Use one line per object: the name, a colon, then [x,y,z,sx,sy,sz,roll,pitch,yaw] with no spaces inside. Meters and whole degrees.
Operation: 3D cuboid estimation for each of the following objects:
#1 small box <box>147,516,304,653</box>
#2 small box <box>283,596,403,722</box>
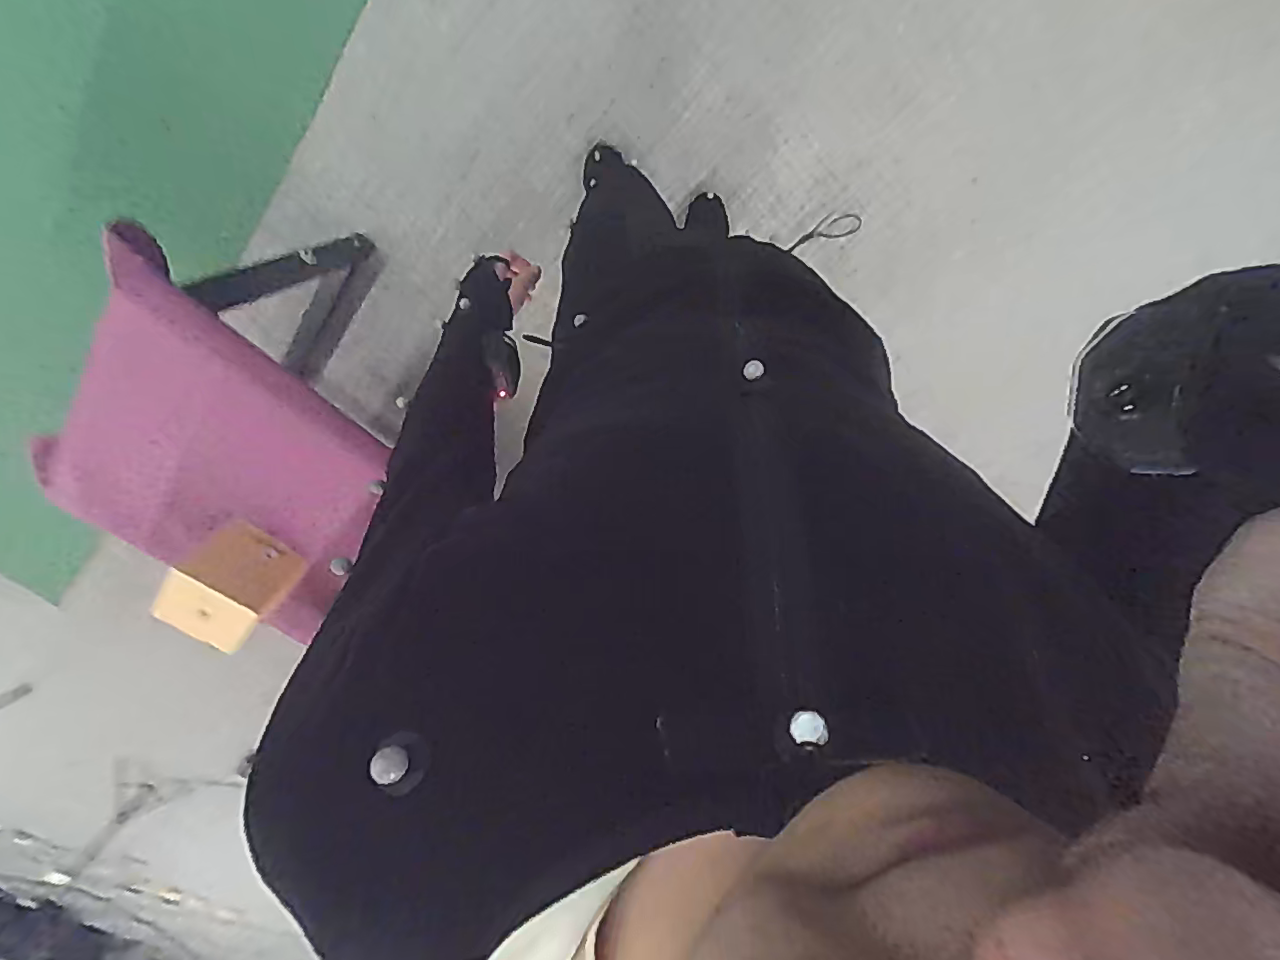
small box: [-0.829,0.208,1.096,0.168,0.176,0.179,39,118,-18]
small box: [-0.624,0.386,1.183,0.168,0.176,0.179,40,119,-17]
